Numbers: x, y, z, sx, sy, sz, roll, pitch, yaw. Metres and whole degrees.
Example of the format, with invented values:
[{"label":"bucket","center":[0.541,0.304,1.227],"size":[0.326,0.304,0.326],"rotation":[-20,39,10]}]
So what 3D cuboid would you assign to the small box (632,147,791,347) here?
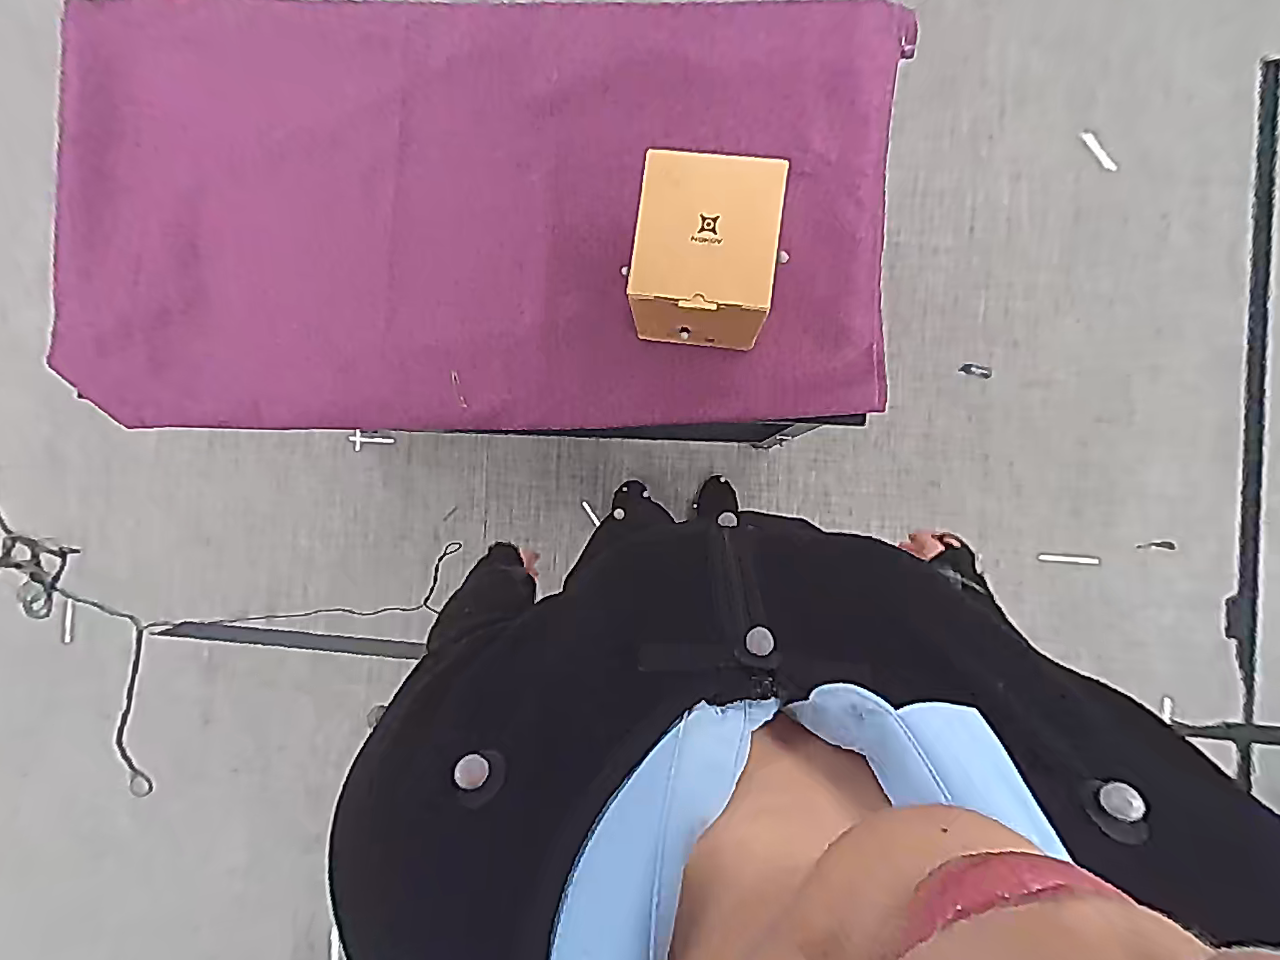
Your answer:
[{"label":"small box","center":[0.086,-0.288,0.697],"size":[0.168,0.176,0.179],"rotation":[7,89,4]}]
